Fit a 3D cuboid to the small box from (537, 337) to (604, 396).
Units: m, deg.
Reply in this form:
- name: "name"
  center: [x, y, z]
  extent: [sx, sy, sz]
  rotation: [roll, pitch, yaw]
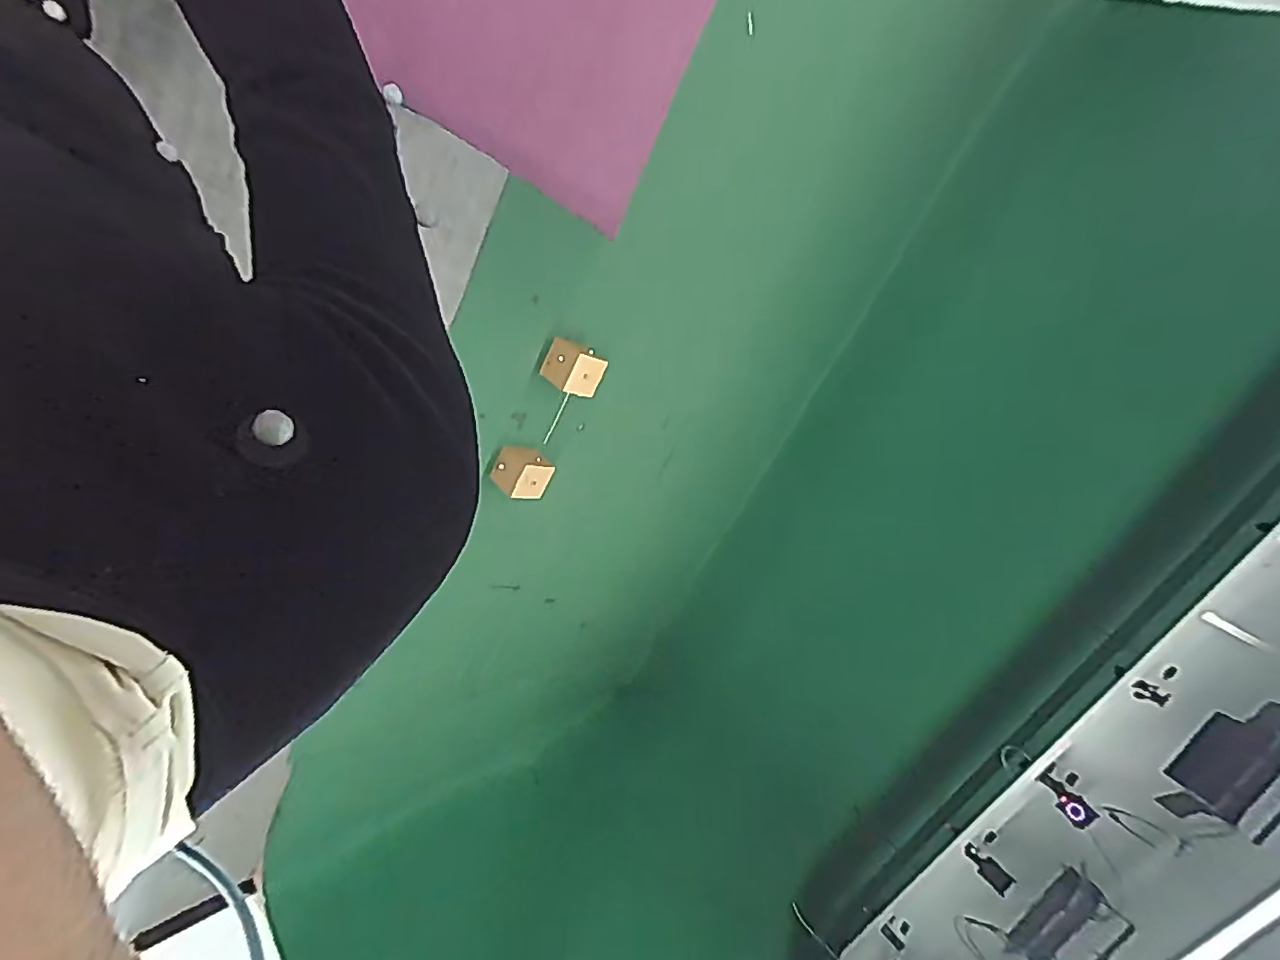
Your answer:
- name: "small box"
  center: [-0.285, -0.463, 2.193]
  extent: [0.179, 0.176, 0.168]
  rotation: [1, 121, -56]

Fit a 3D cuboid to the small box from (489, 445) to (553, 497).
- name: "small box"
  center: [-0.516, -0.039, 2.335]
  extent: [0.179, 0.176, 0.168]
  rotation: [4, 119, -55]
